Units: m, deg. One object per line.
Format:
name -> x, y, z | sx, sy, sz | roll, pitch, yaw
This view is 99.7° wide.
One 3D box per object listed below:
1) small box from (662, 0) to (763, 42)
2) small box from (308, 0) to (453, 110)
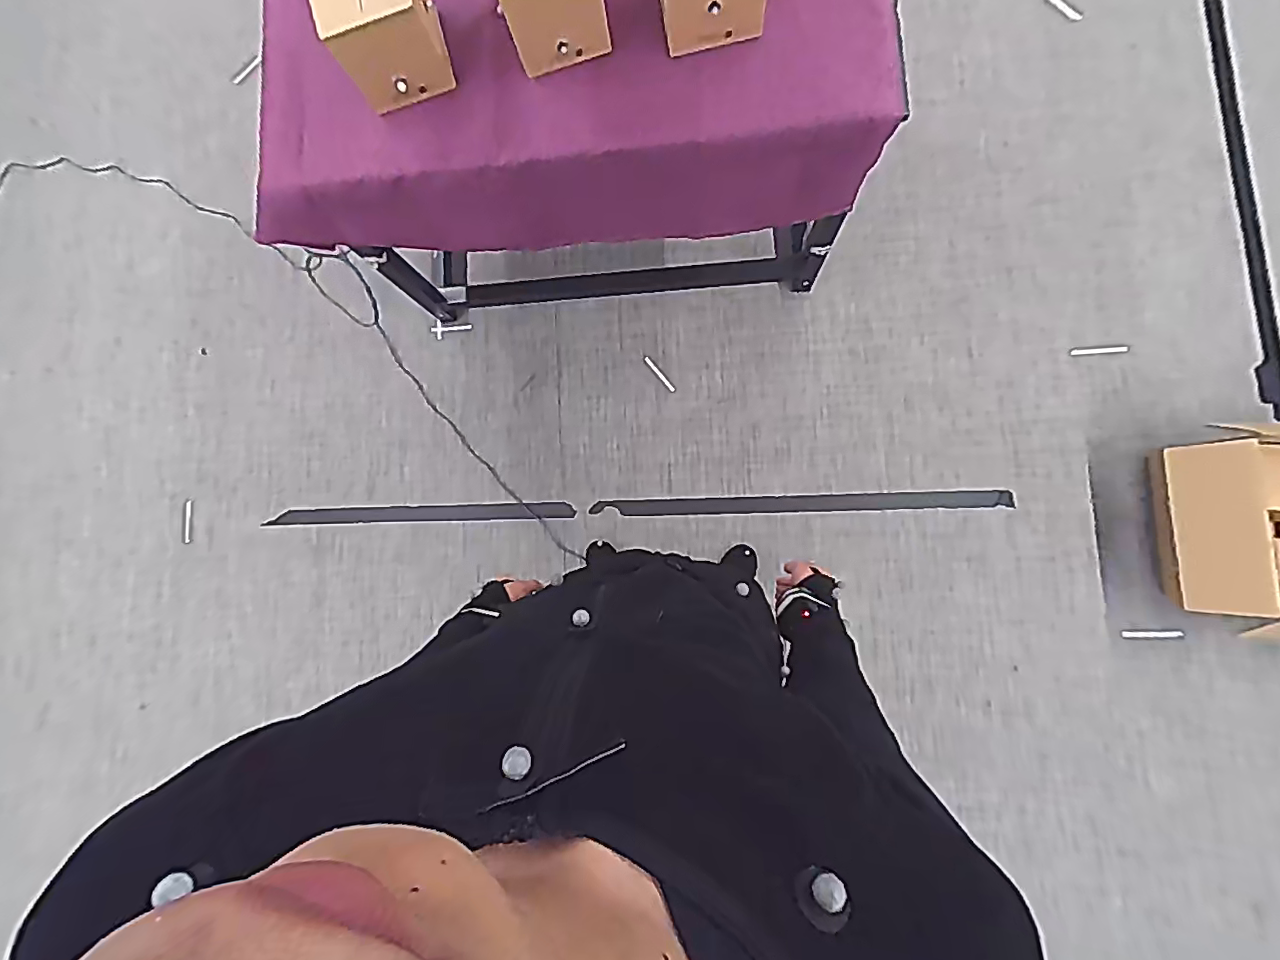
small box -> 0.114, -0.871, 0.891 | 0.168, 0.176, 0.179 | -9, 84, 5
small box -> -0.453, -0.804, 0.945 | 0.168, 0.176, 0.179 | -17, 85, 5
